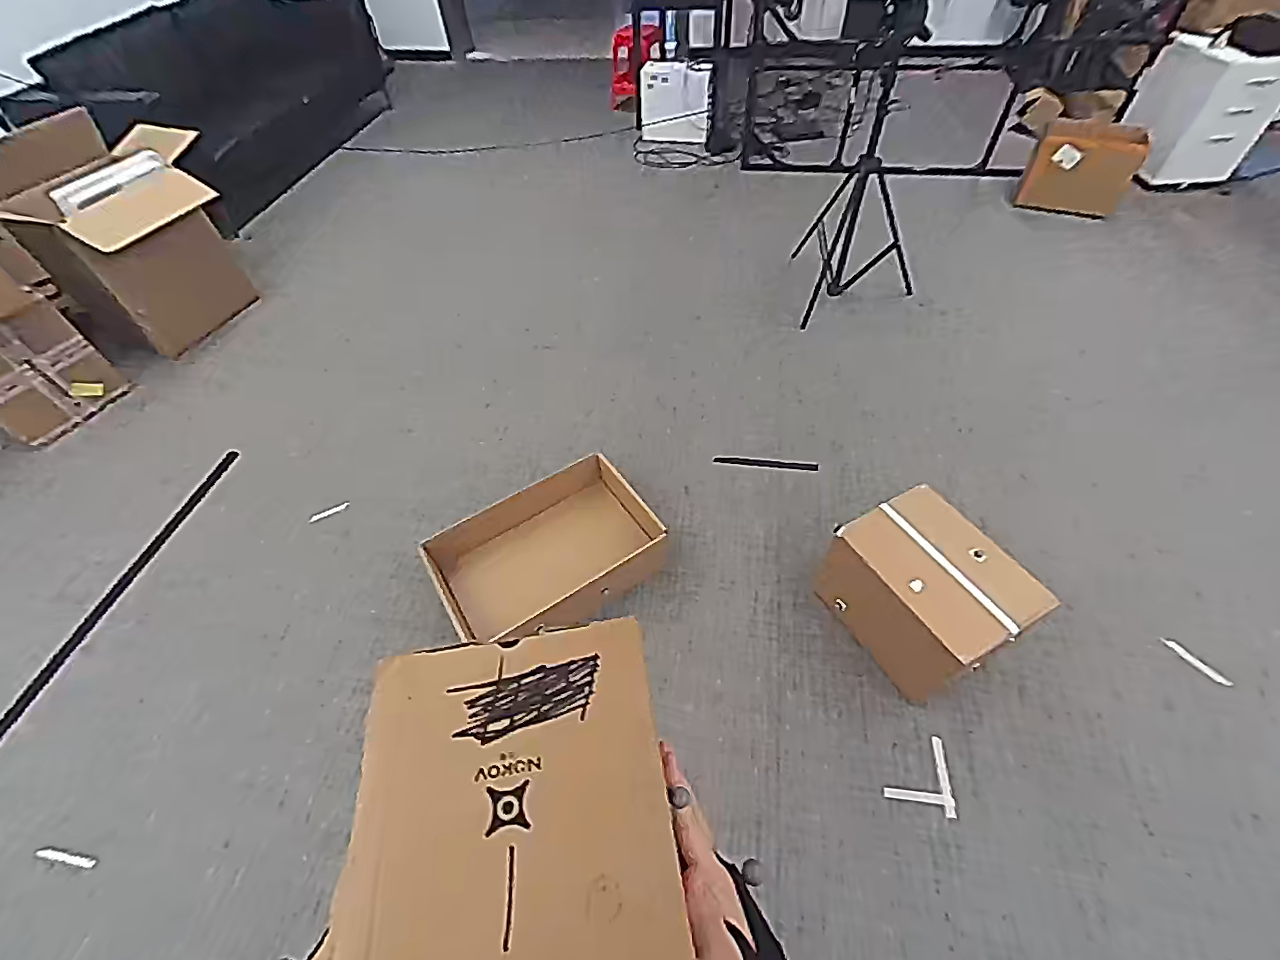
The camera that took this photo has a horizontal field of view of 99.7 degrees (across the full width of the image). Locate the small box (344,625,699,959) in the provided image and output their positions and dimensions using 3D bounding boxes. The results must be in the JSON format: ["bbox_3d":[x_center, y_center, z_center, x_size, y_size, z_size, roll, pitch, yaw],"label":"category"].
[{"bbox_3d":[-0.062,0.221,0.355,0.168,0.176,0.179,-9,52,-3],"label":"small box"}]
